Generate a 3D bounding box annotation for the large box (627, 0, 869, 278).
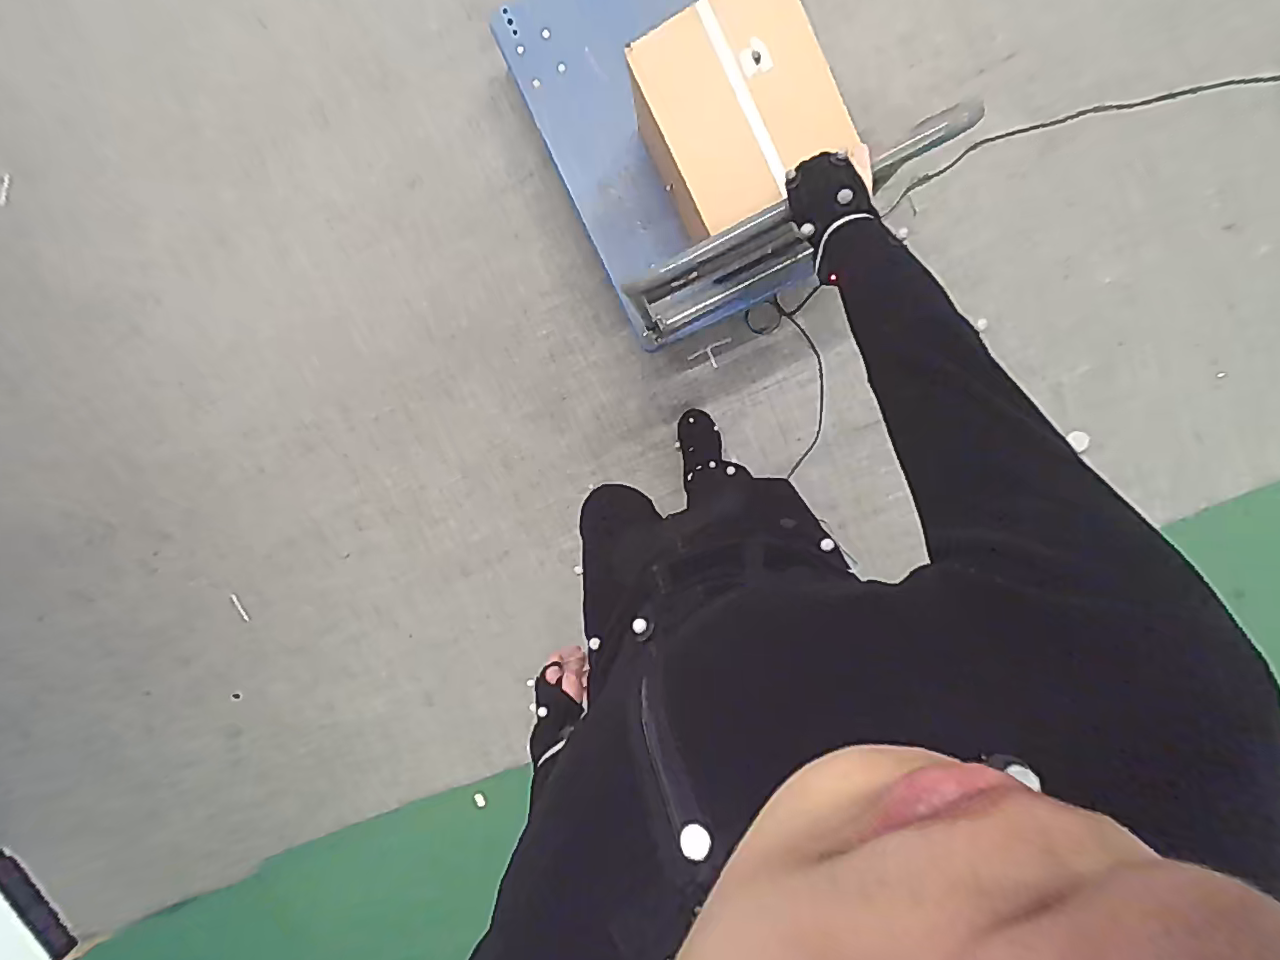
[{"bbox_3d":[0.215,-0.710,1.149,0.320,0.320,0.408,-27,96,8],"label":"large box"}]
